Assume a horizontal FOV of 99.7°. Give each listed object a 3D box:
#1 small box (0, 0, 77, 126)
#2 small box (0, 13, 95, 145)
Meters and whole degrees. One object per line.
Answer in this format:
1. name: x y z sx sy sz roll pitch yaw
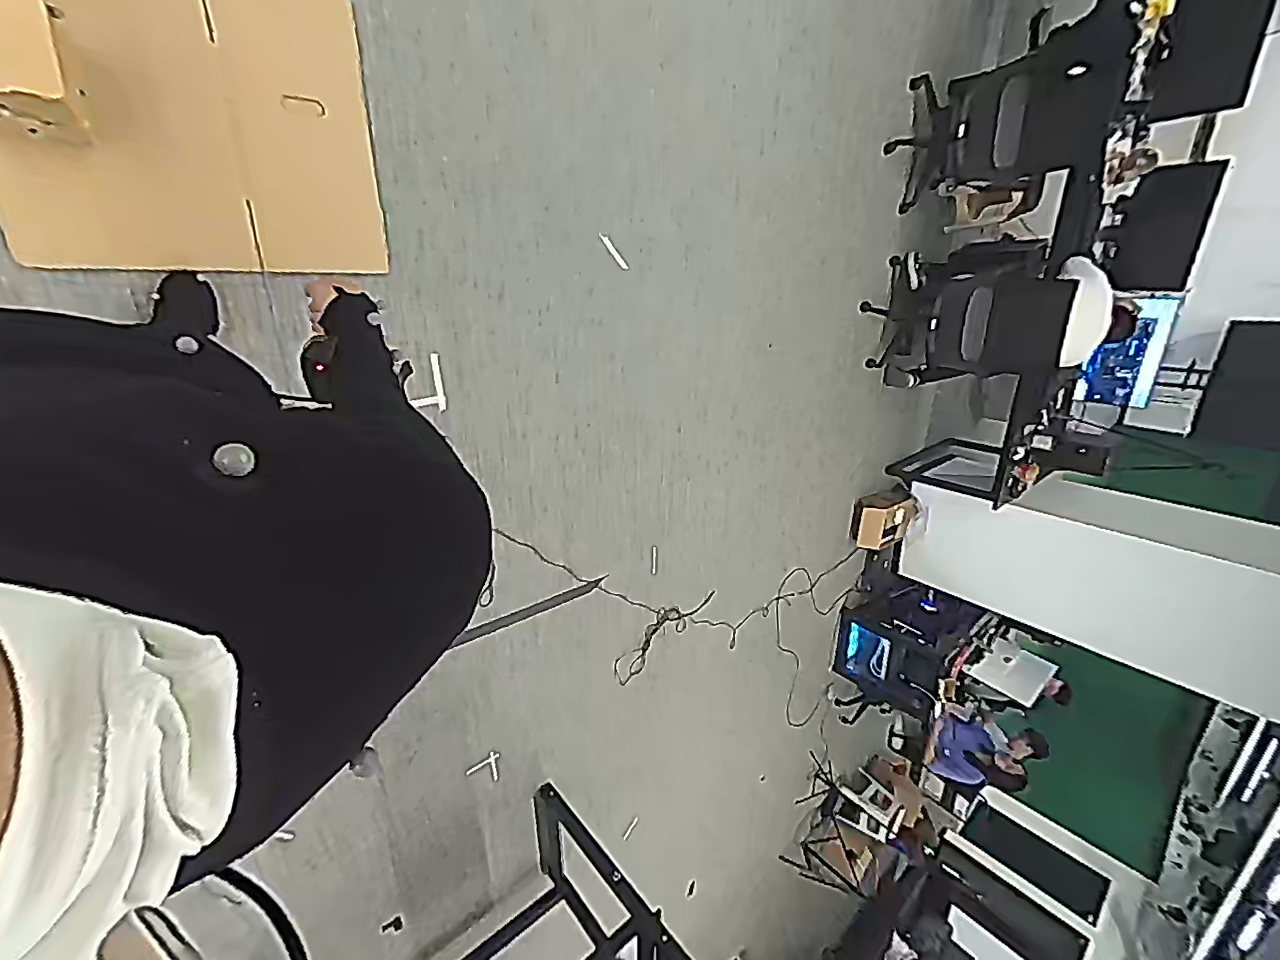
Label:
1. small box: -0.980 -0.660 0.803 0.168 0.176 0.179 -12 113 -38
2. small box: -1.079 -0.698 0.931 0.168 0.176 0.179 -14 115 -38
